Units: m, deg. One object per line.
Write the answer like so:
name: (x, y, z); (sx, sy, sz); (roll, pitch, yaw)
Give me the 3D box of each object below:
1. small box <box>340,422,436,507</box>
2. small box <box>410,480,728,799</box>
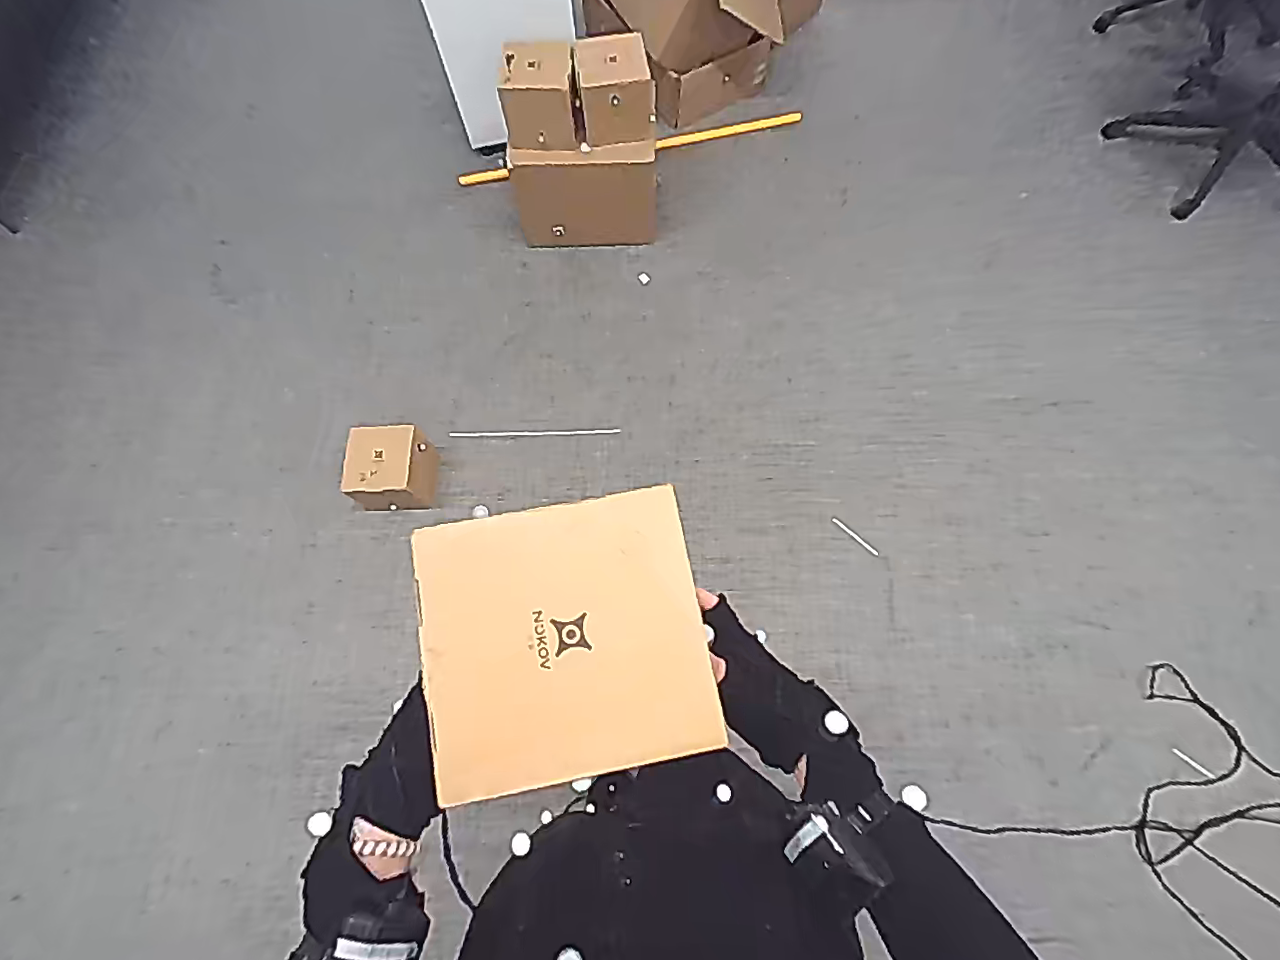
small box: (-0.645, -0.036, 1.410); (0.168, 0.176, 0.179); (-2, 71, 1)
small box: (-0.048, 0.108, 0.409); (0.179, 0.176, 0.168); (-11, 77, -3)
